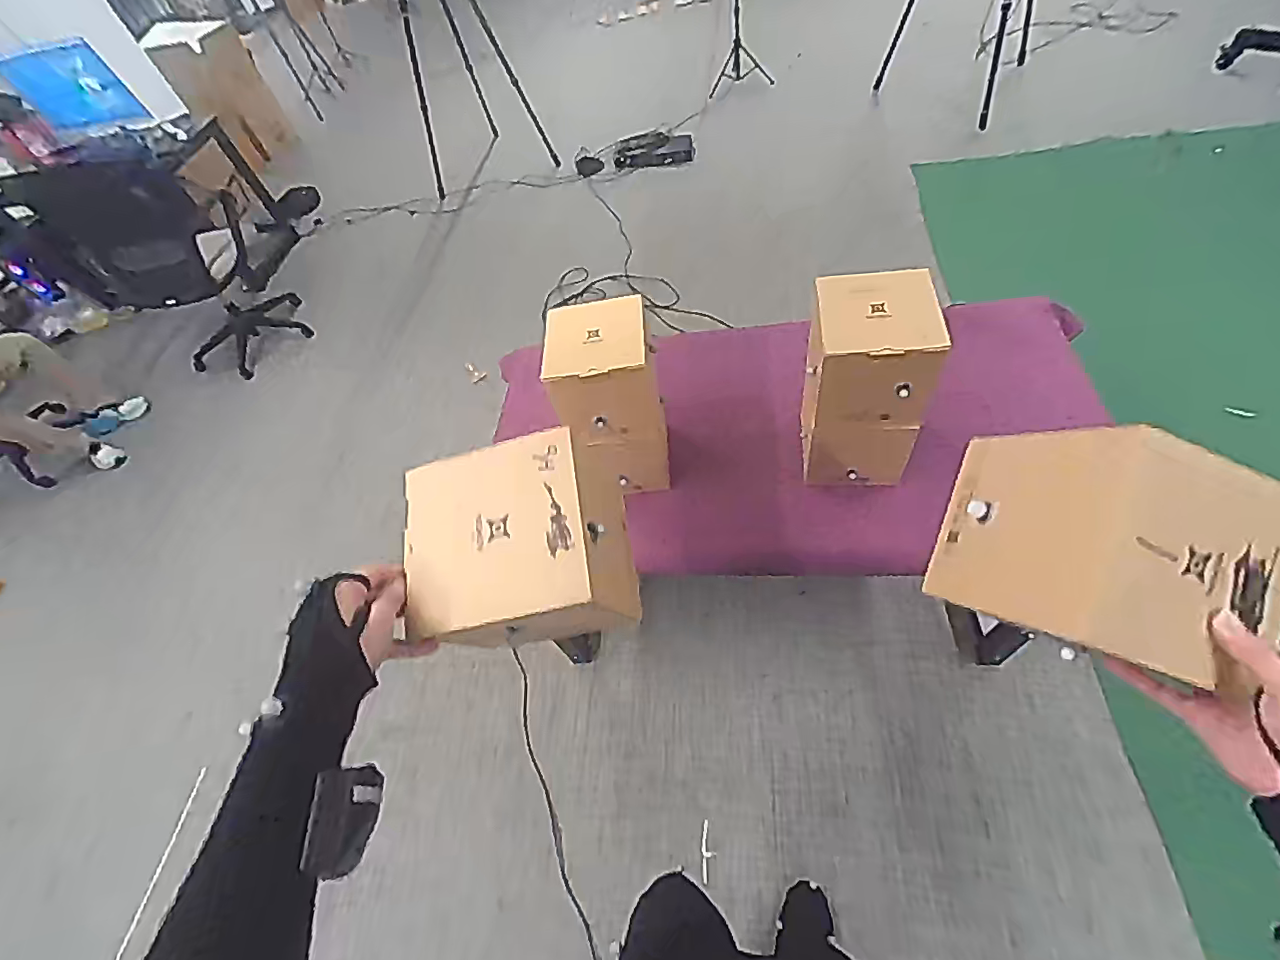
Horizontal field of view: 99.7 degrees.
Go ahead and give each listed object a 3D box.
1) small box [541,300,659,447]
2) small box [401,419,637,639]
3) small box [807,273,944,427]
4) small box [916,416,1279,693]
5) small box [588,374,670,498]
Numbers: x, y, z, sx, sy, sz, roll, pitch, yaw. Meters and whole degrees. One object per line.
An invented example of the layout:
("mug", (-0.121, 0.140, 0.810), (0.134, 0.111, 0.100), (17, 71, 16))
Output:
("small box", (-0.061, -0.179, 0.936), (0.168, 0.176, 0.179), (-8, 54, 7))
("small box", (-0.118, 0.064, 0.561), (0.179, 0.176, 0.168), (-15, 67, 11))
("small box", (0.356, -0.196, 0.852), (0.168, 0.176, 0.179), (-1, 55, 12))
("small box", (0.390, 0.055, 0.475), (0.179, 0.176, 0.168), (19, 87, -7))
("small box", (-0.035, -0.082, 1.065), (0.168, 0.176, 0.179), (-6, 54, 9))
